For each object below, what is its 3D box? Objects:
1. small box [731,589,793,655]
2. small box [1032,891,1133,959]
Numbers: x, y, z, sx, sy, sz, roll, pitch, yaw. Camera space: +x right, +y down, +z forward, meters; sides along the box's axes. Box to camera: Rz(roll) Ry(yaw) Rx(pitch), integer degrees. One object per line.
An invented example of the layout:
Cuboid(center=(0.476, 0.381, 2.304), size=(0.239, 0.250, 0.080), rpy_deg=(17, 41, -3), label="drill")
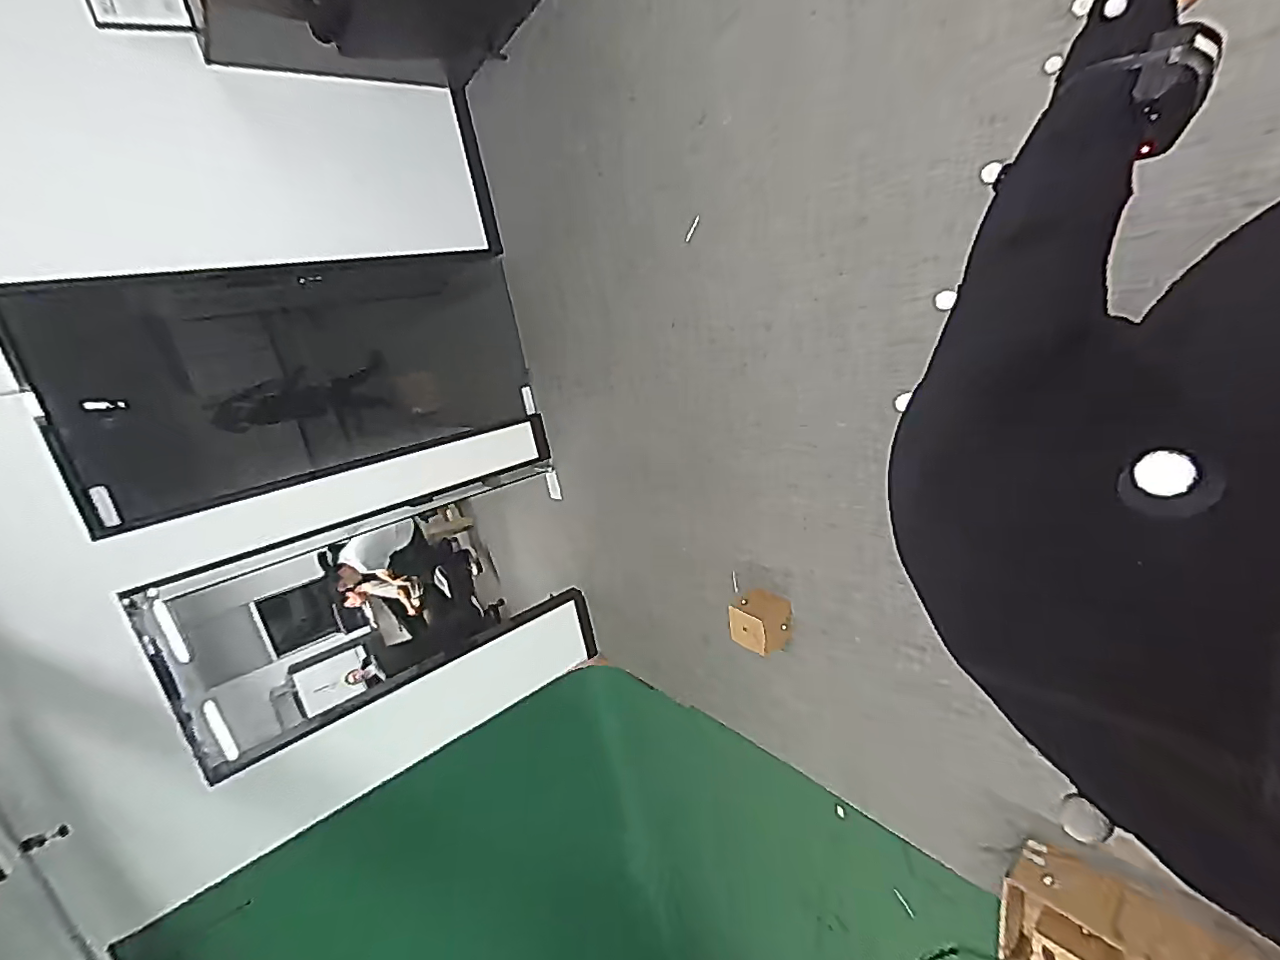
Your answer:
Cuboid(center=(0.487, 0.557, 2.158), size=(0.179, 0.176, 0.168), rpy_deg=(17, 122, 49), label="small box")
Cuboid(center=(1.200, 1.276, 1.469), size=(0.179, 0.176, 0.168), rpy_deg=(11, 116, 50), label="small box")
